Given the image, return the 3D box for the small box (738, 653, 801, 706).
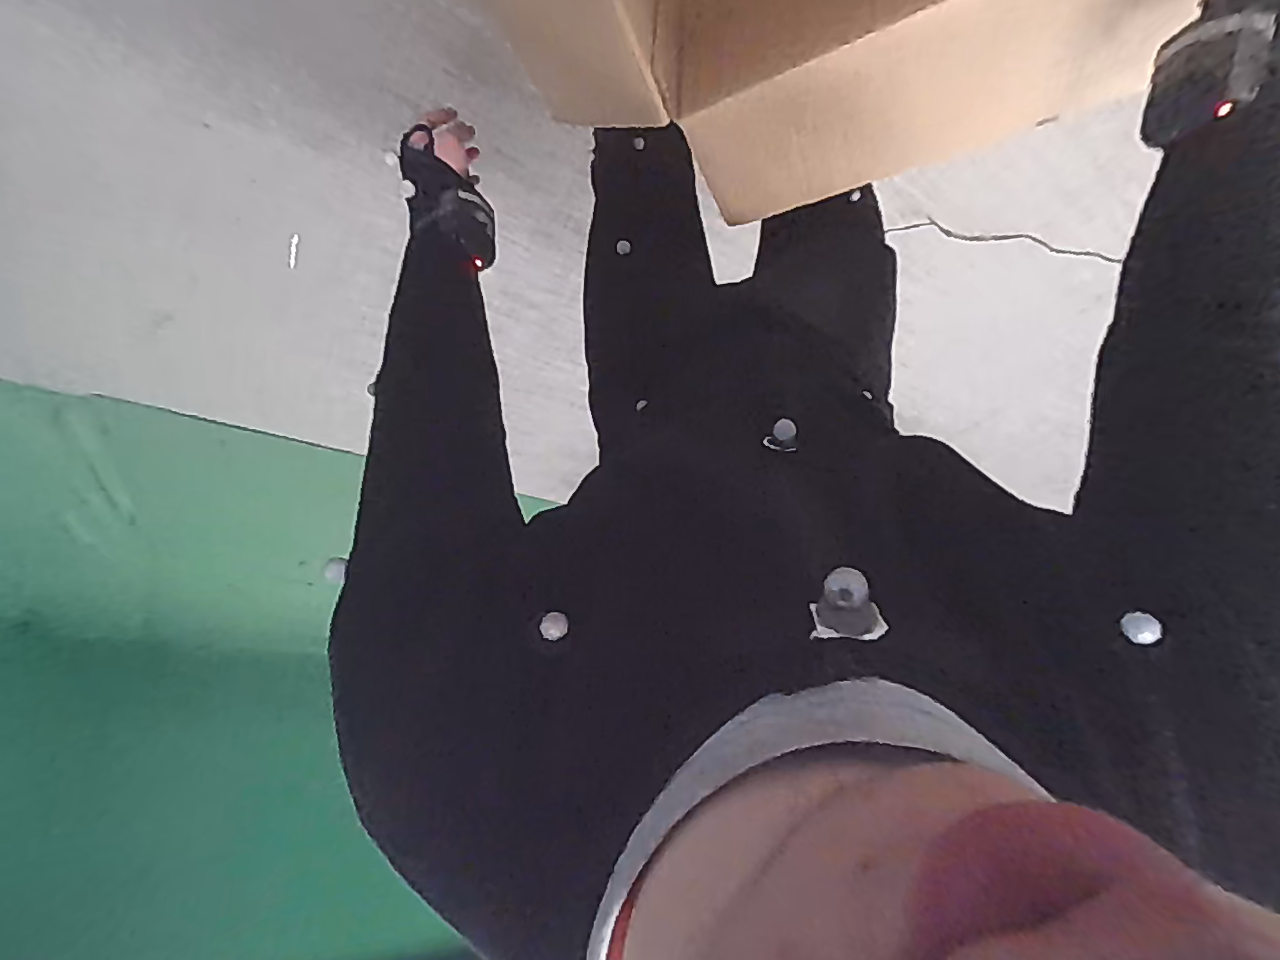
[{"bbox_3d":[0.510,0.798,2.160,0.179,0.176,0.168,18,144,-30],"label":"small box"}]
